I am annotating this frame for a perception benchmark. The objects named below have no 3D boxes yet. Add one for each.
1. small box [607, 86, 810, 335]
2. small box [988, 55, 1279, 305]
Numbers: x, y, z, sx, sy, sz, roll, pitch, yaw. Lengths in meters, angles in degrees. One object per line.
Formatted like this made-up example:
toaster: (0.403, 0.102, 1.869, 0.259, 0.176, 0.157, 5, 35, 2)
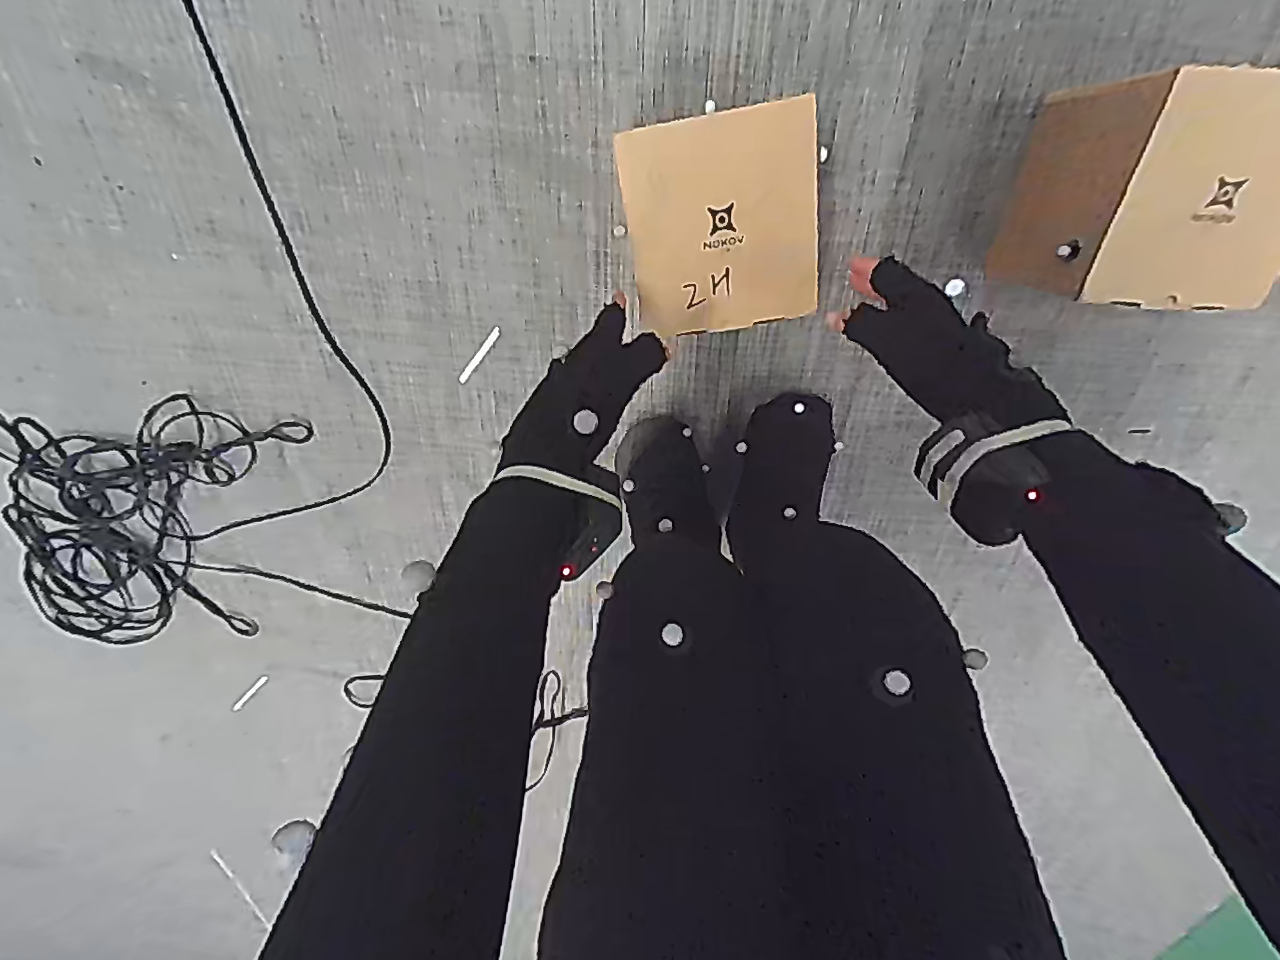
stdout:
small box: (0.068, -0.262, 0.540, 0.168, 0.176, 0.179, -7, 120, 8)
small box: (0.473, -0.276, 0.513, 0.168, 0.176, 0.179, 3, 121, 1)
